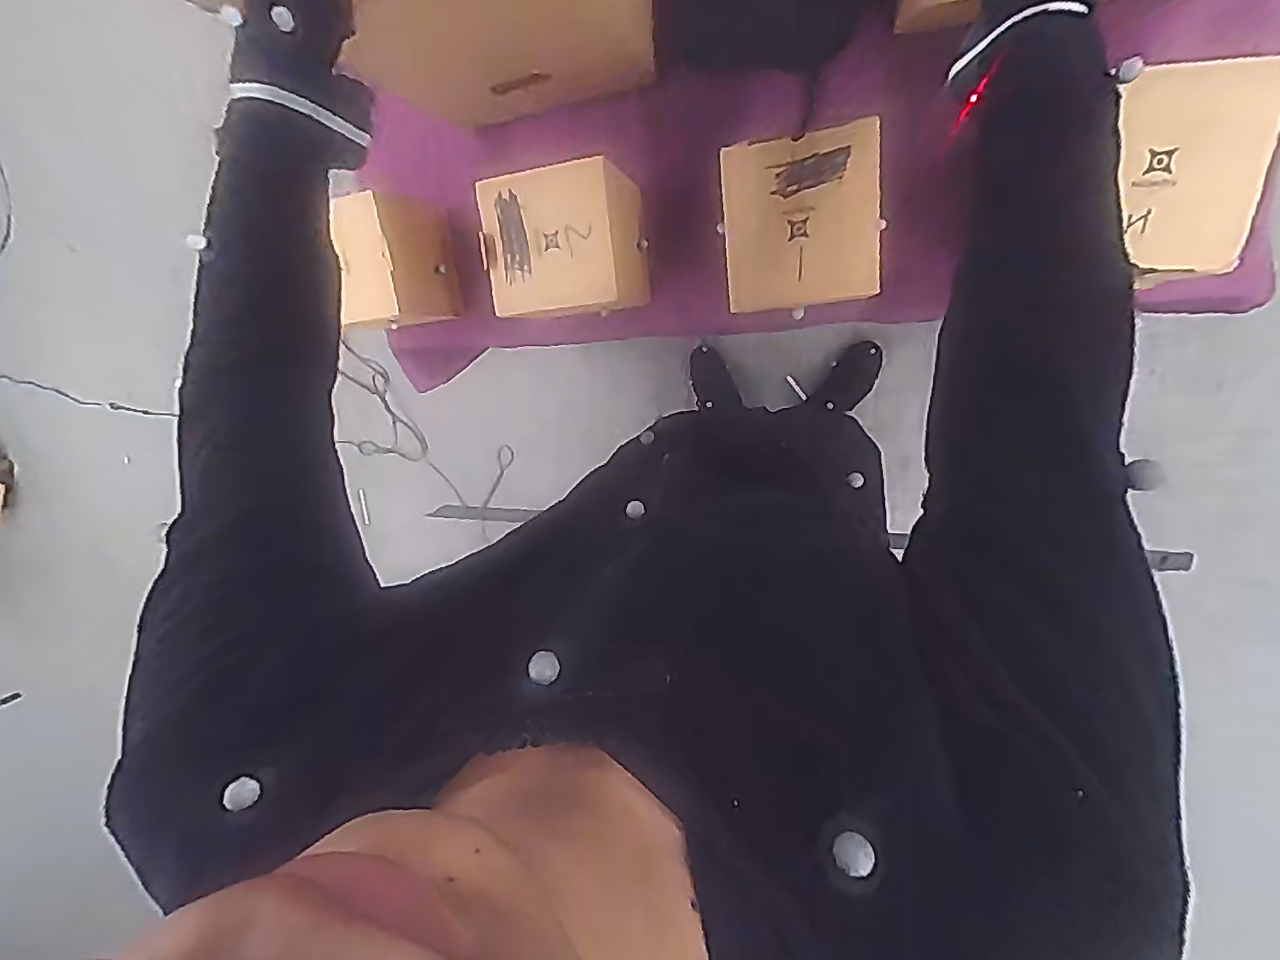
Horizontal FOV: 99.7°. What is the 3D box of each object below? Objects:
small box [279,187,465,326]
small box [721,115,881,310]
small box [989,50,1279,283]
[{"bbox_3d":[-0.406,-0.333,0.843,0.179,0.176,0.168,-3,105,16],"label":"small box"},{"bbox_3d":[0.196,-0.309,0.666,0.168,0.176,0.179,-1,107,18],"label":"small box"},{"bbox_3d":[0.497,-0.309,0.572,0.168,0.176,0.179,7,108,16],"label":"small box"}]
